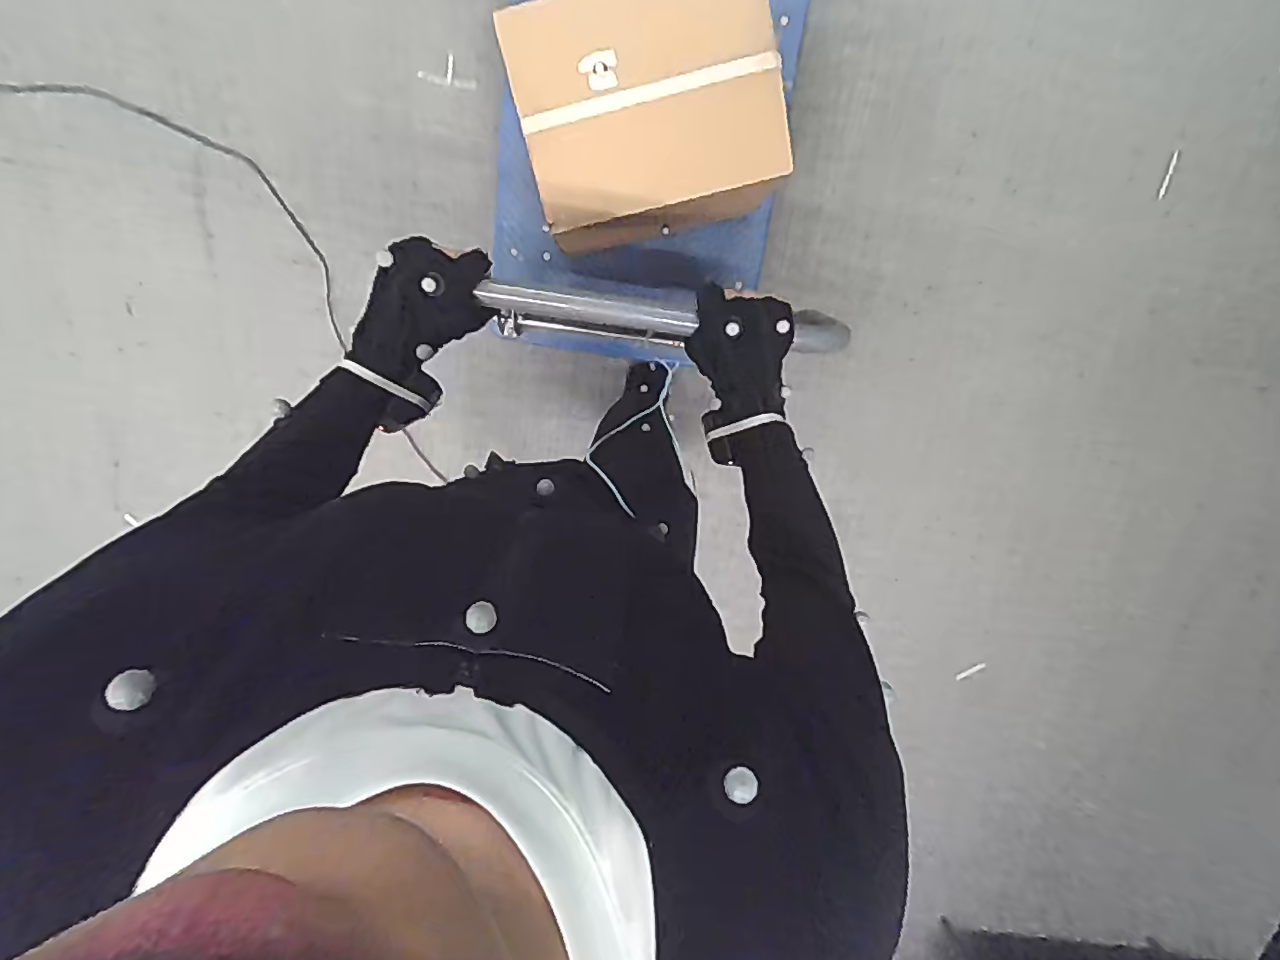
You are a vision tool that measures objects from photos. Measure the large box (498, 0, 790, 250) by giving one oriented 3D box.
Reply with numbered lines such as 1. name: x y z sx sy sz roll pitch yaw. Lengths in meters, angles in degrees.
1. large box: 0.012 -0.643 0.979 0.408 0.320 0.320 -14 105 3
